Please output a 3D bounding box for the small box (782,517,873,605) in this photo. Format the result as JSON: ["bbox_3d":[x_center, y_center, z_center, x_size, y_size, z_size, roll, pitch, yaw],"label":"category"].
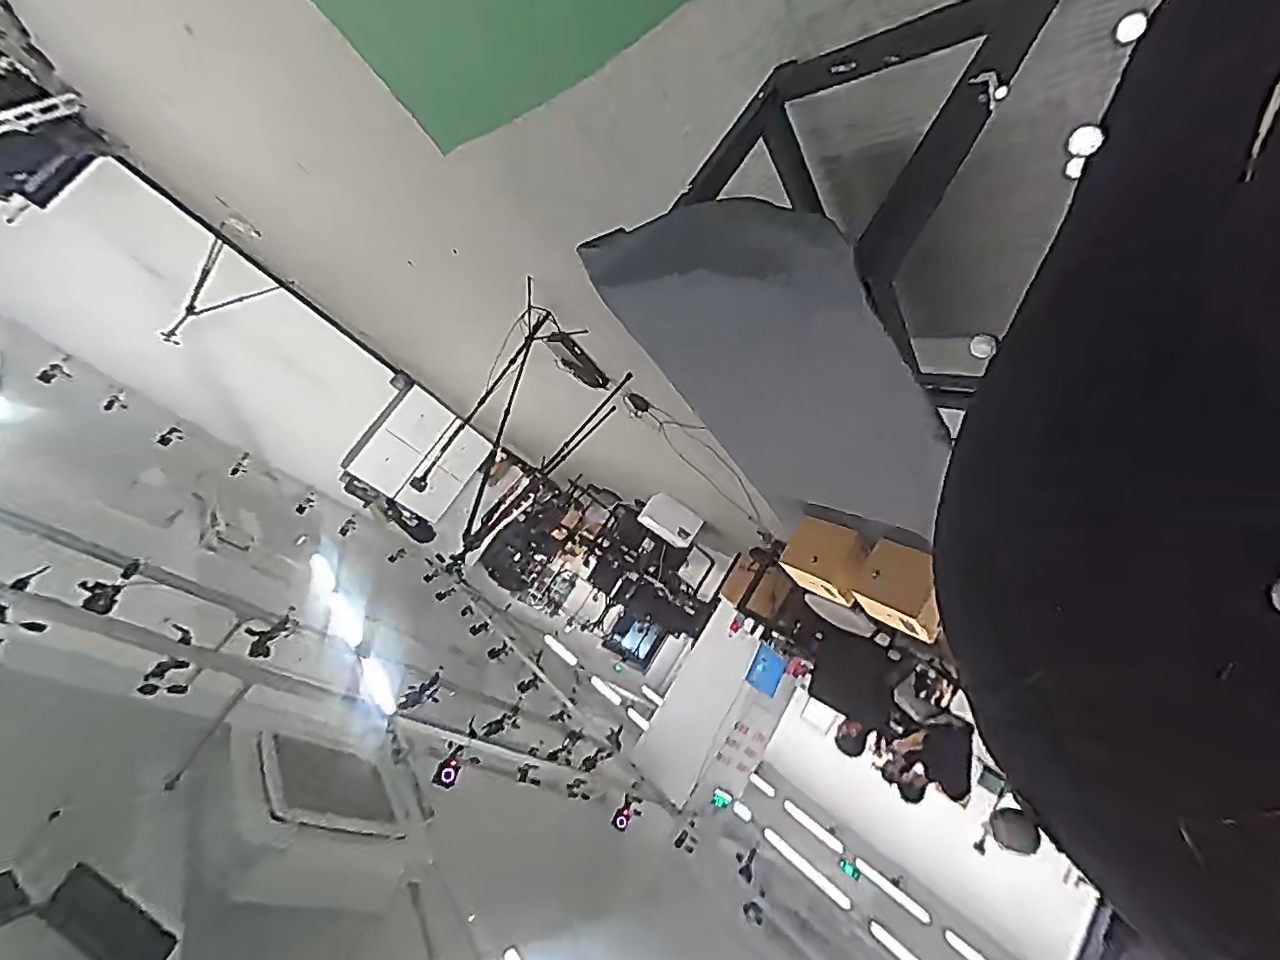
[{"bbox_3d":[0.547,0.227,1.556,0.179,0.176,0.168,20,162,50],"label":"small box"}]
